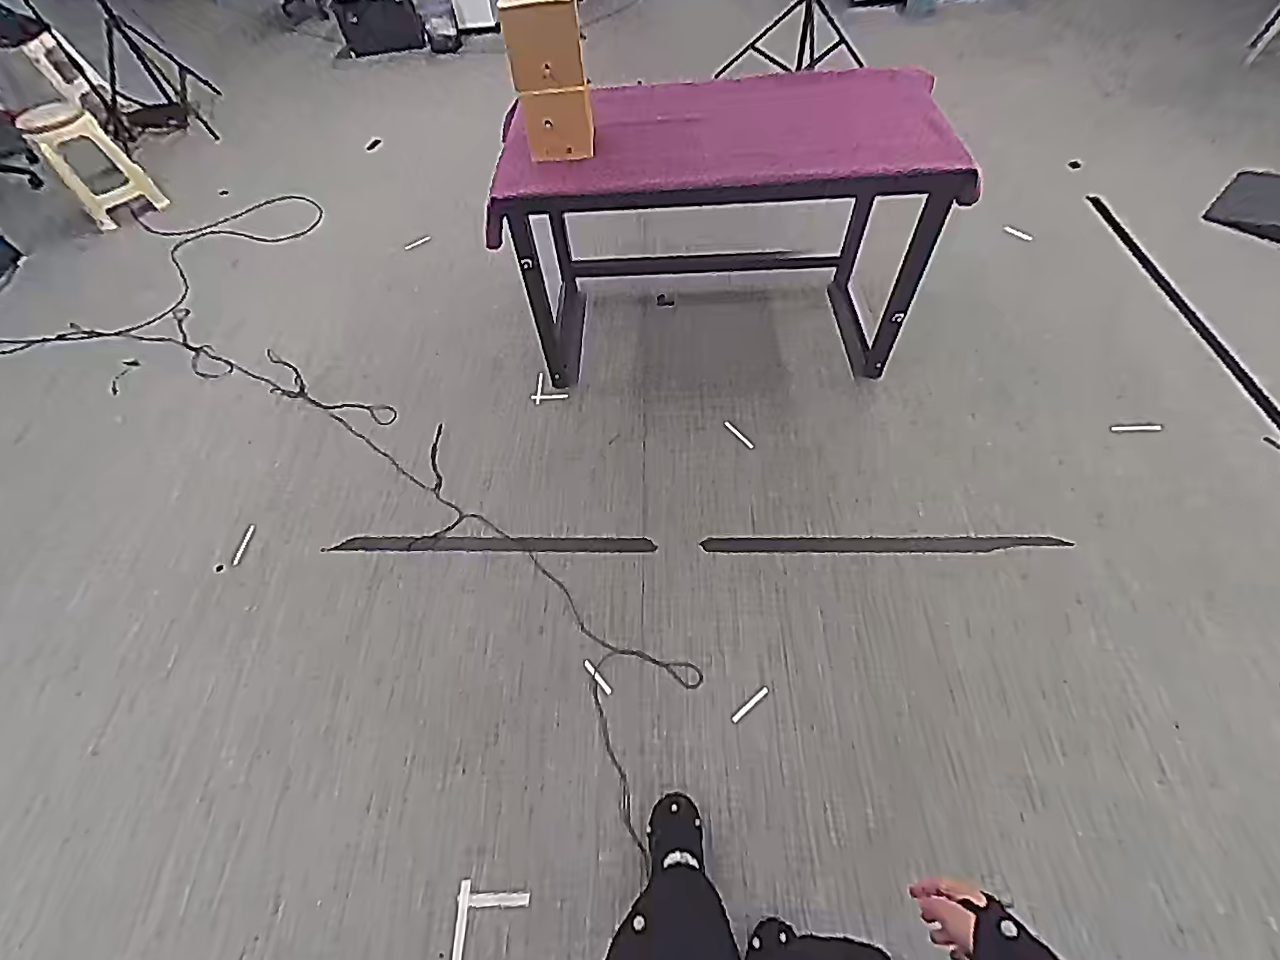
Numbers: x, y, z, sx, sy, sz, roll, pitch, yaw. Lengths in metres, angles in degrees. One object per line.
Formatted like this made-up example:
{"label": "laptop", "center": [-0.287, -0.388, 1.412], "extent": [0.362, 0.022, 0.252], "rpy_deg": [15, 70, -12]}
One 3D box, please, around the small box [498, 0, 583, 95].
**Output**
{"label": "small box", "center": [-0.233, -1.070, 1.317], "extent": [0.179, 0.176, 0.168], "rpy_deg": [-5, 55, 0]}

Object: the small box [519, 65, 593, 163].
{"label": "small box", "center": [-0.217, -0.973, 1.448], "extent": [0.168, 0.176, 0.179], "rpy_deg": [-4, 56, 2]}
